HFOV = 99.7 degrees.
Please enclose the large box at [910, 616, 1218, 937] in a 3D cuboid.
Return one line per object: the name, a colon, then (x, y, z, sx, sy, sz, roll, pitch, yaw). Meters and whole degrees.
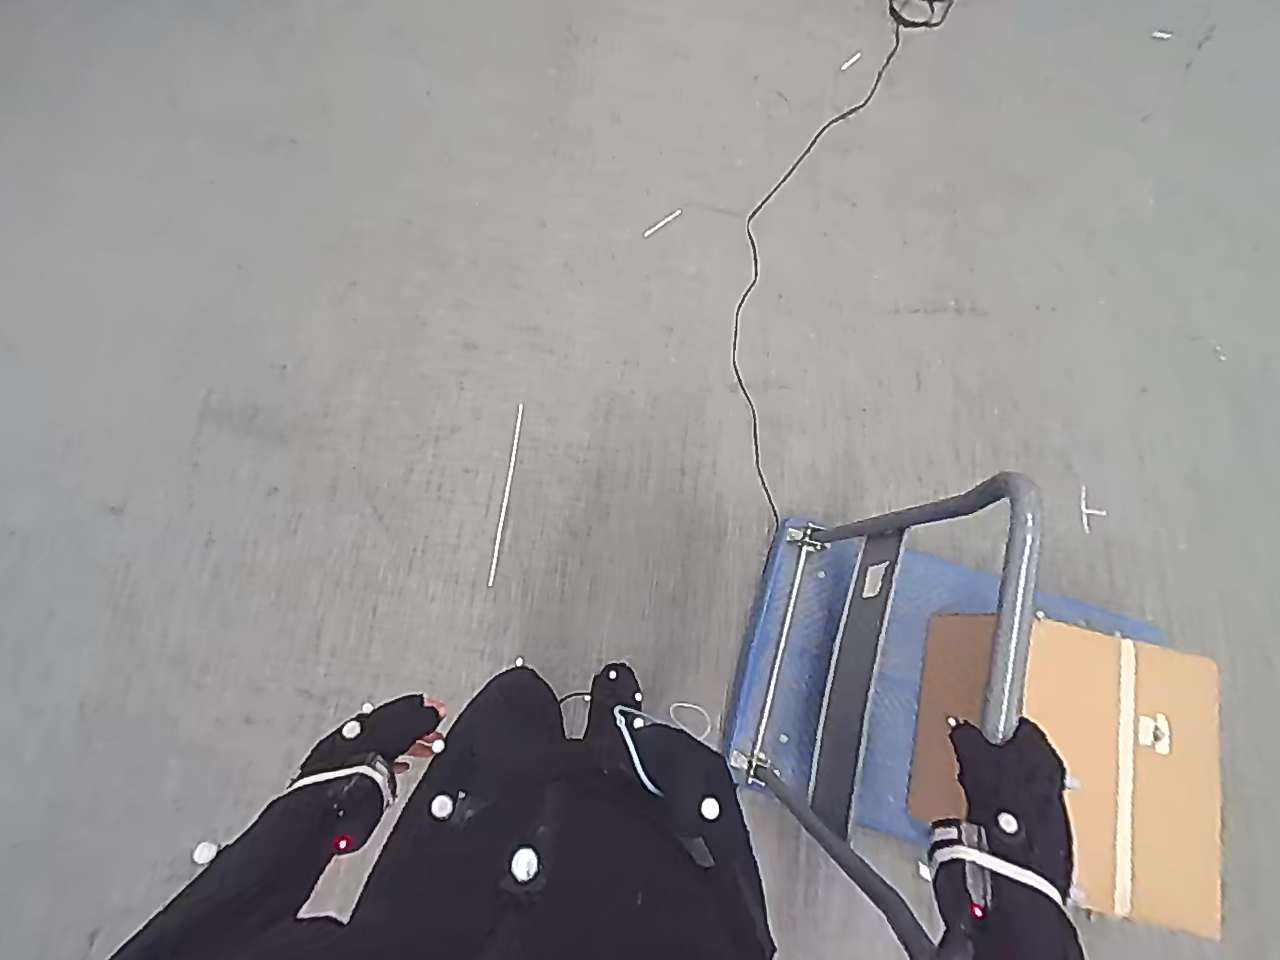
large box: (0.731, 0.484, 0.982, 0.320, 0.320, 0.408, 14, 75, 1)
